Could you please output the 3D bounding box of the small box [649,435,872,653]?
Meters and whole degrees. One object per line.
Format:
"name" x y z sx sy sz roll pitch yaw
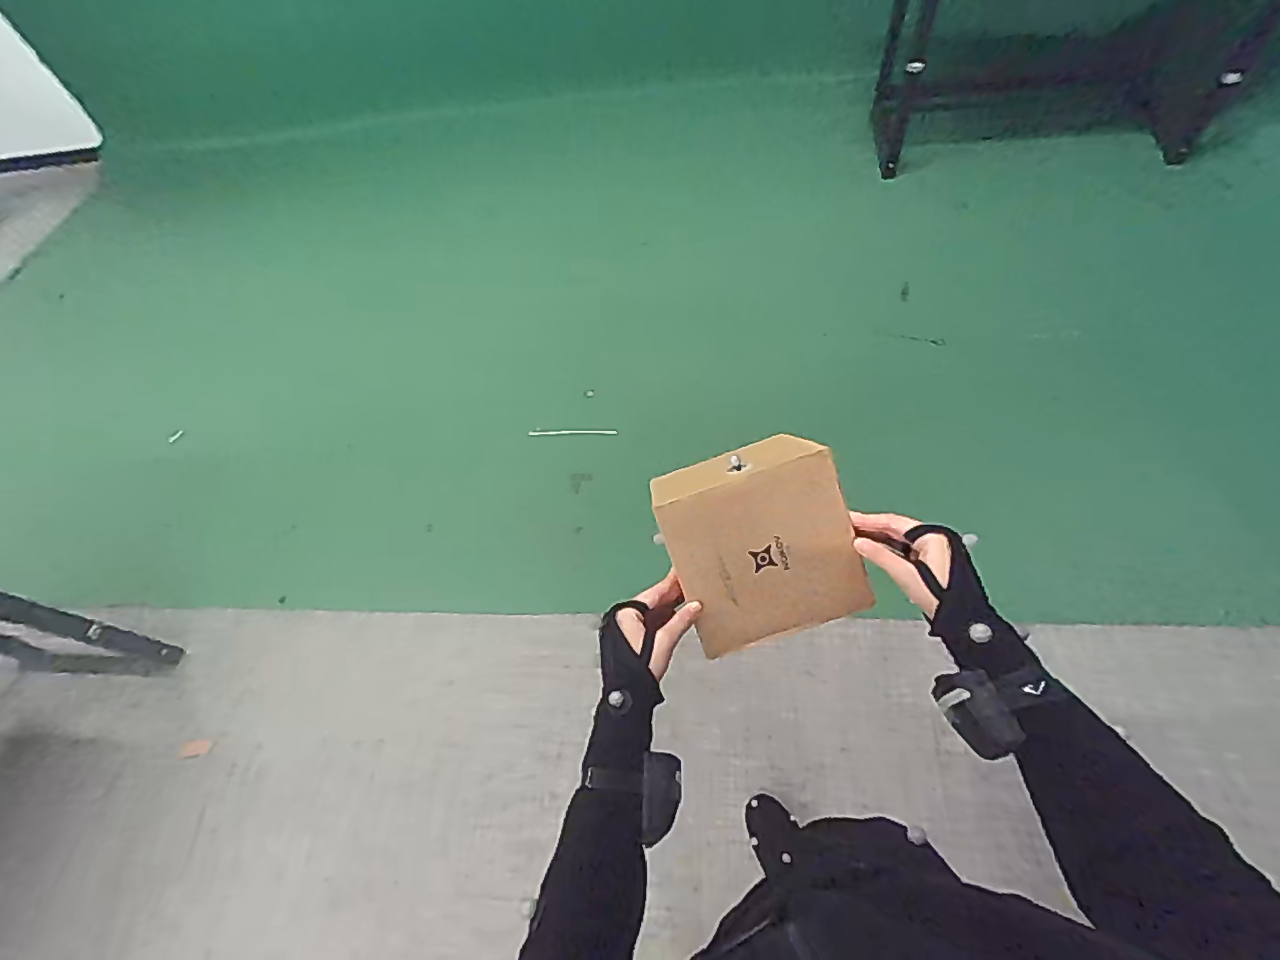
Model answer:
"small box" 0.115 0.054 0.590 0.179 0.176 0.168 -20 96 3
